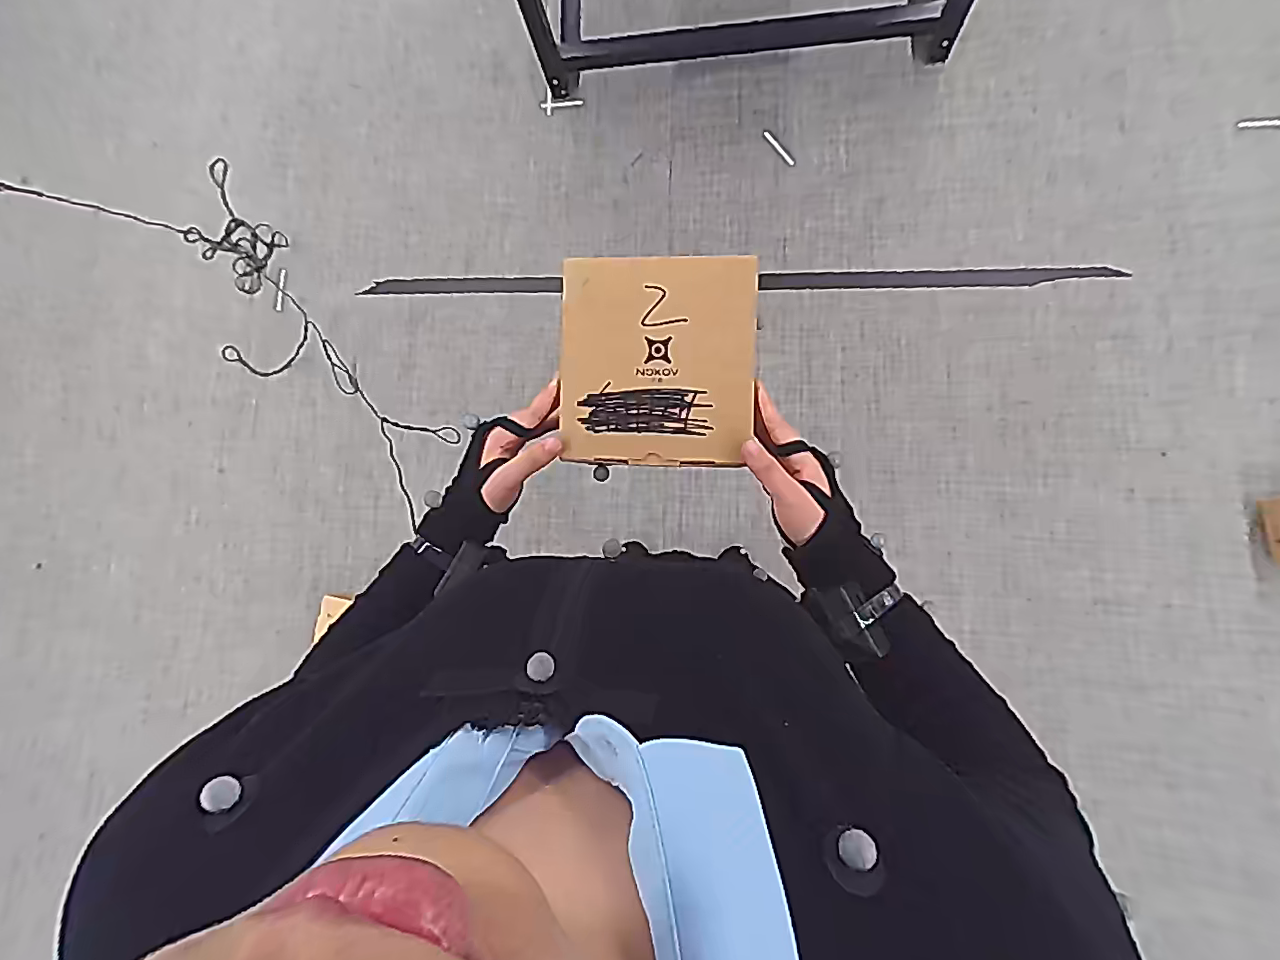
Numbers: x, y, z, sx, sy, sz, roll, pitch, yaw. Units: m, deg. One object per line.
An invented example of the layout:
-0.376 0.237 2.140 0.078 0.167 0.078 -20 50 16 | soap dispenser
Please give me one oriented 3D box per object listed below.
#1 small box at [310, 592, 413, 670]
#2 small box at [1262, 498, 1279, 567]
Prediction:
-0.765 0.410 1.502 0.179 0.176 0.168 10 84 9 | small box
1.598 0.114 1.235 0.179 0.176 0.168 -6 82 6 | small box
